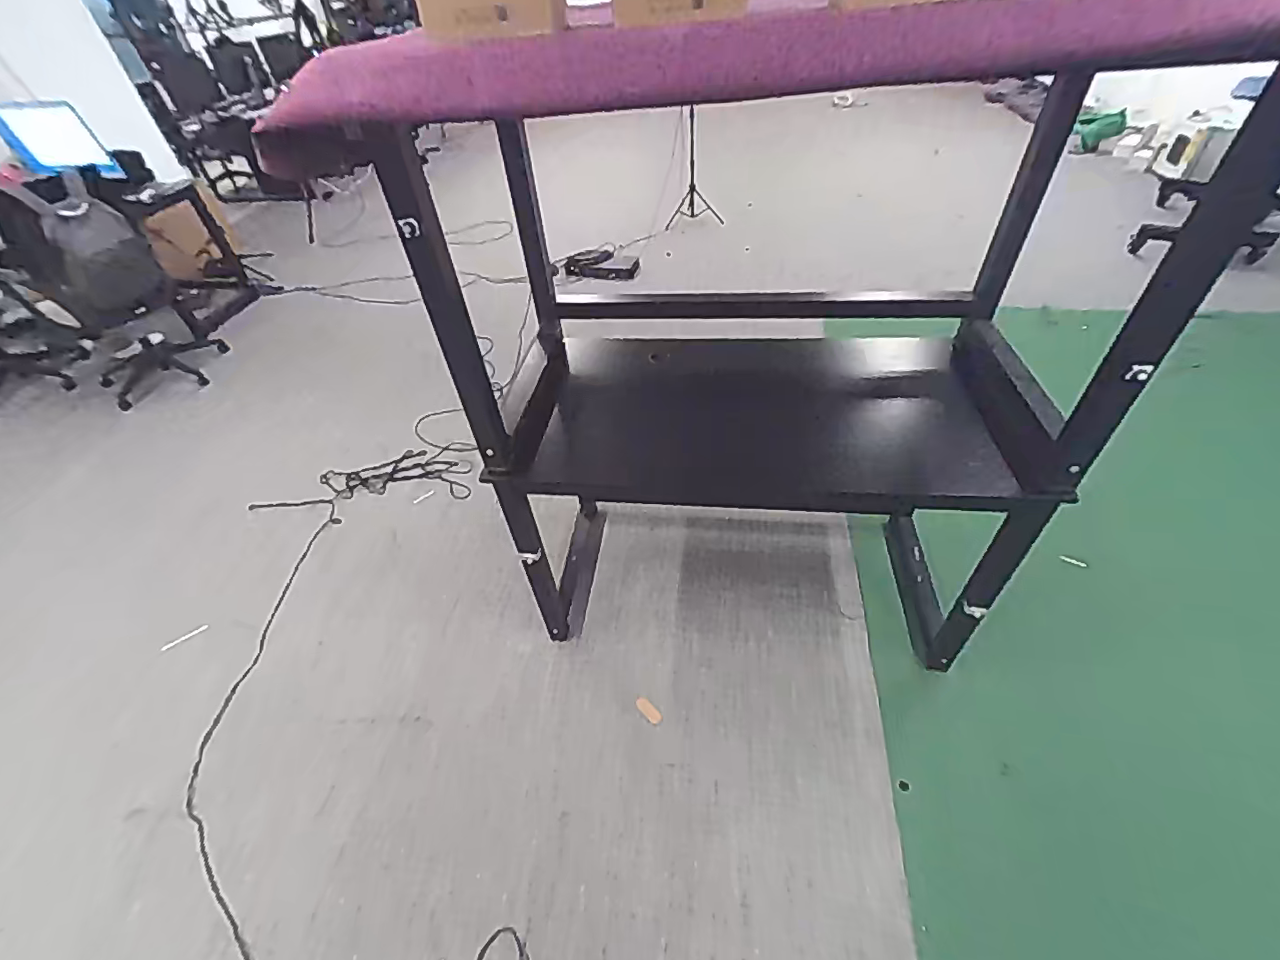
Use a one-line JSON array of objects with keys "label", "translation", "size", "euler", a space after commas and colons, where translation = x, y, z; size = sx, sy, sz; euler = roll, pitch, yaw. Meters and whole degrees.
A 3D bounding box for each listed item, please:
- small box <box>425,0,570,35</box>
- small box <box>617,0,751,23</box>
[{"label": "small box", "translation": [-0.187, -0.680, 0.688], "size": [0.168, 0.176, 0.179], "euler": [-1, 43, 3]}, {"label": "small box", "translation": [0.053, -0.679, 0.664], "size": [0.168, 0.176, 0.179], "euler": [0, 44, 4]}]
